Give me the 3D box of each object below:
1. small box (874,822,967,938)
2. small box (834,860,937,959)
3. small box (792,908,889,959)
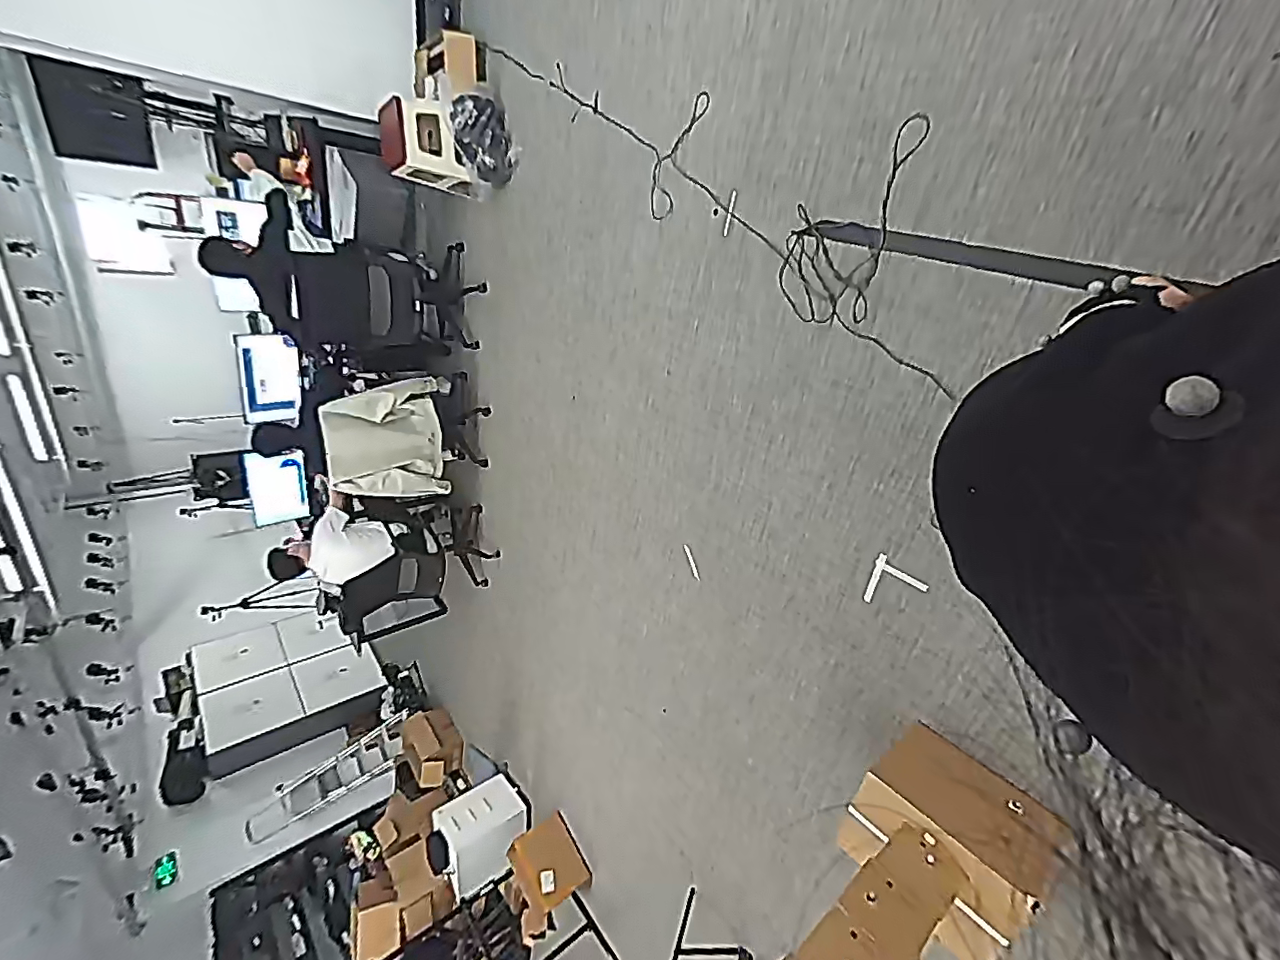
[{"bbox_3d":[0.660,0.992,1.316,0.168,0.176,0.179,31,122,41],"label":"small box"},{"bbox_3d":[0.536,1.013,1.214,0.168,0.176,0.179,30,123,43],"label":"small box"},{"bbox_3d":[0.413,1.047,1.109,0.168,0.176,0.179,26,118,45],"label":"small box"}]
